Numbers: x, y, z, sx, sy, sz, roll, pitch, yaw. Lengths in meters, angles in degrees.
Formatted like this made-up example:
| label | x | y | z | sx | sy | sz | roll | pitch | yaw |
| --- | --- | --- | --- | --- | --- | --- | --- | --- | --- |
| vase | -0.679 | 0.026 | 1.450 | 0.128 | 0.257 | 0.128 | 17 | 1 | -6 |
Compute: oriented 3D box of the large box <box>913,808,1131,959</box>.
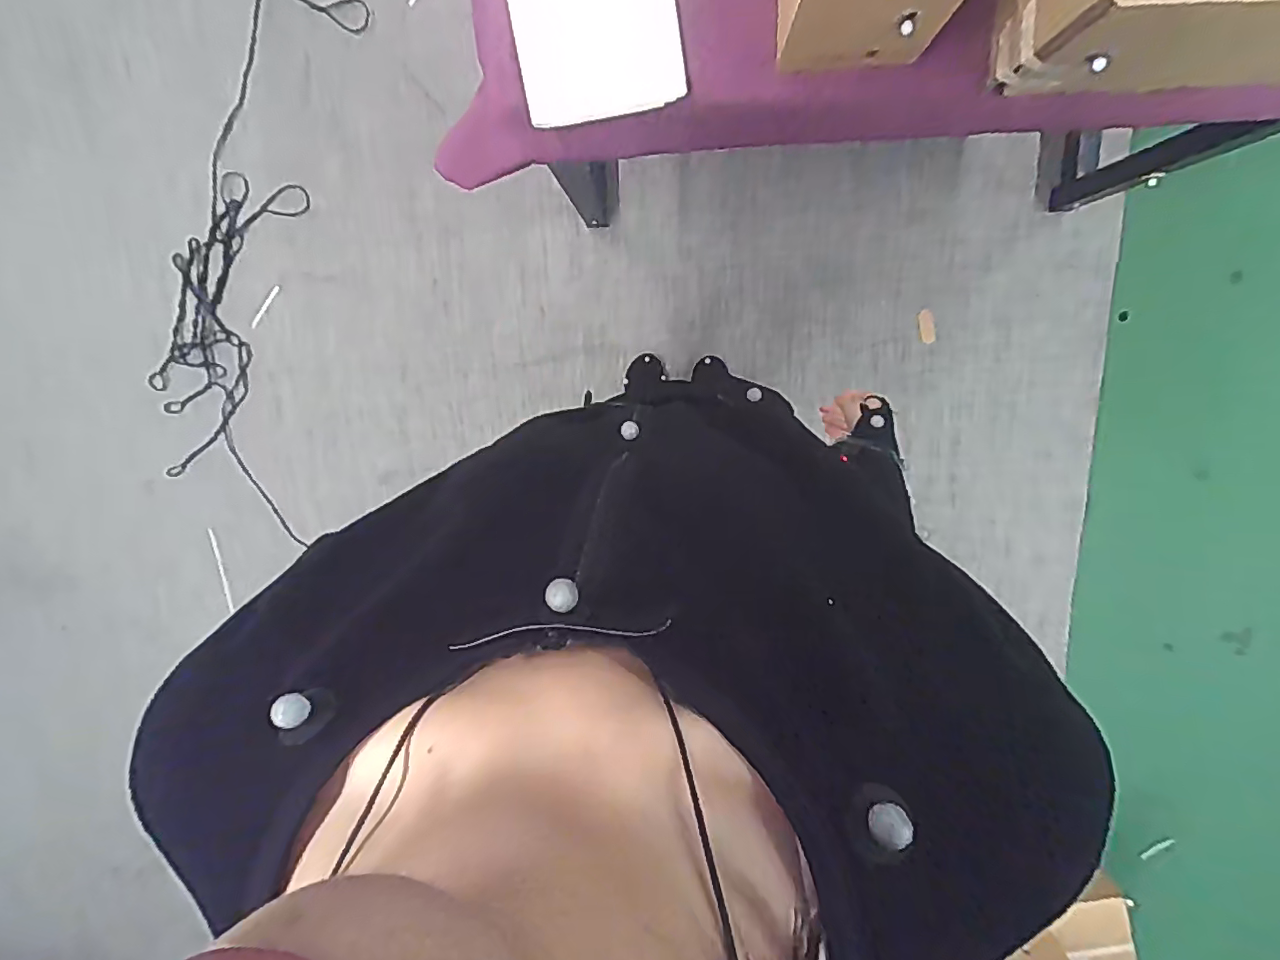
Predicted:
| label | x | y | z | sx | sy | sz | roll | pitch | yaw |
| --- | --- | --- | --- | --- | --- | --- | --- | --- | --- |
| large box | 1.085 | 1.232 | 1.568 | 0.408 | 0.320 | 0.320 | -16 | 102 | 5 |

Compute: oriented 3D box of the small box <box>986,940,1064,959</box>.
| label | x | y | z | sx | sy | sz | roll | pitch | yaw |
| --- | --- | --- | --- | --- | --- | --- | --- | --- | --- |
| small box | 0.985 | 1.288 | 1.335 | 0.179 | 0.176 | 0.168 | -11 | 101 | 6 |

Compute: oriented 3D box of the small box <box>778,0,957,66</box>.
| label | x | y | z | sx | sy | sz | roll | pitch | yaw |
| --- | --- | --- | --- | --- | --- | --- | --- | --- | --- |
| small box | 0.242 | -0.560 | 0.555 | 0.168 | 0.176 | 0.179 | 0 | 101 | 3 |
